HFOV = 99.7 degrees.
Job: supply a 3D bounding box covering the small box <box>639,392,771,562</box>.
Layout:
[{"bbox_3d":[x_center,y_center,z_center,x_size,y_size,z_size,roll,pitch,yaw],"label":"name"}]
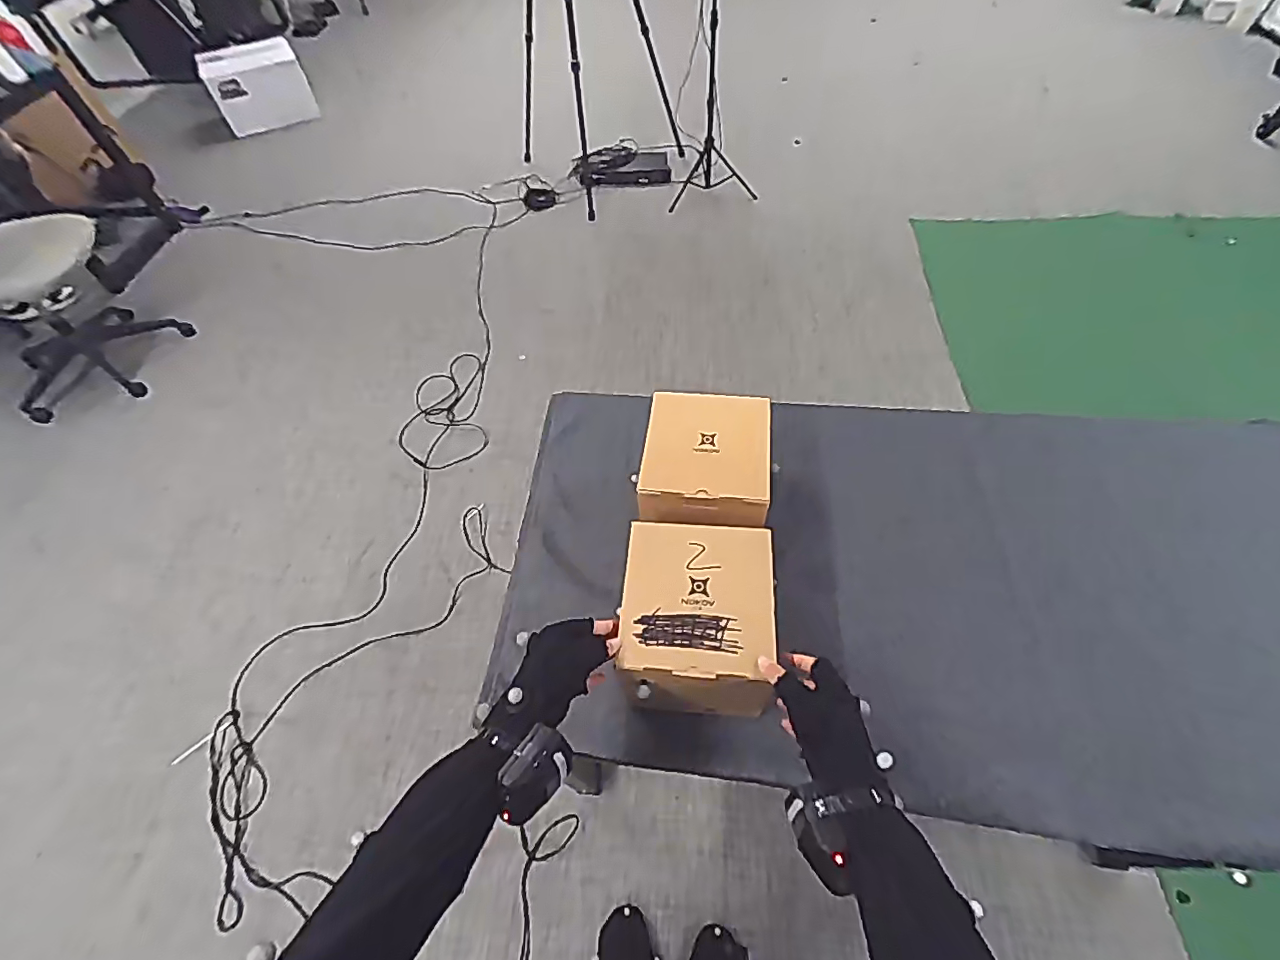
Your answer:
[{"bbox_3d":[0.094,-0.002,0.782,0.168,0.176,0.179,4,56,7],"label":"small box"}]
